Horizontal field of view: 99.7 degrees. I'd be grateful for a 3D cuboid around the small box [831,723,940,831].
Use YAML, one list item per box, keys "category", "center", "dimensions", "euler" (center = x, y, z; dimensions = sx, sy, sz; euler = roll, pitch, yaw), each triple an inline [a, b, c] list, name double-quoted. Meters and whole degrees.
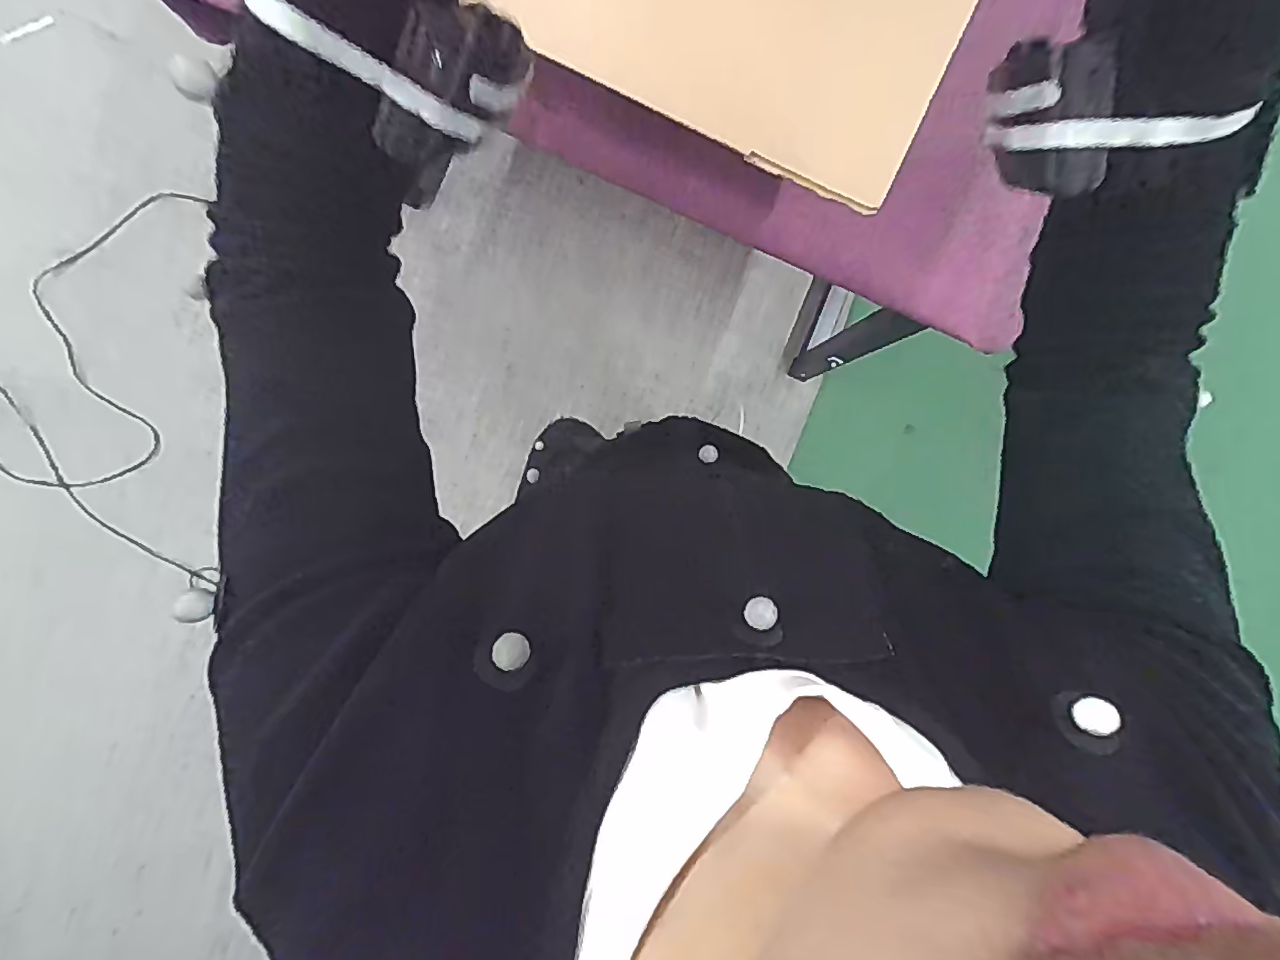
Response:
- category: "small box"
  center: [0.652, 0.787, 1.452]
  dimensions: [0.179, 0.176, 0.168]
  euler: [24, 91, -4]
